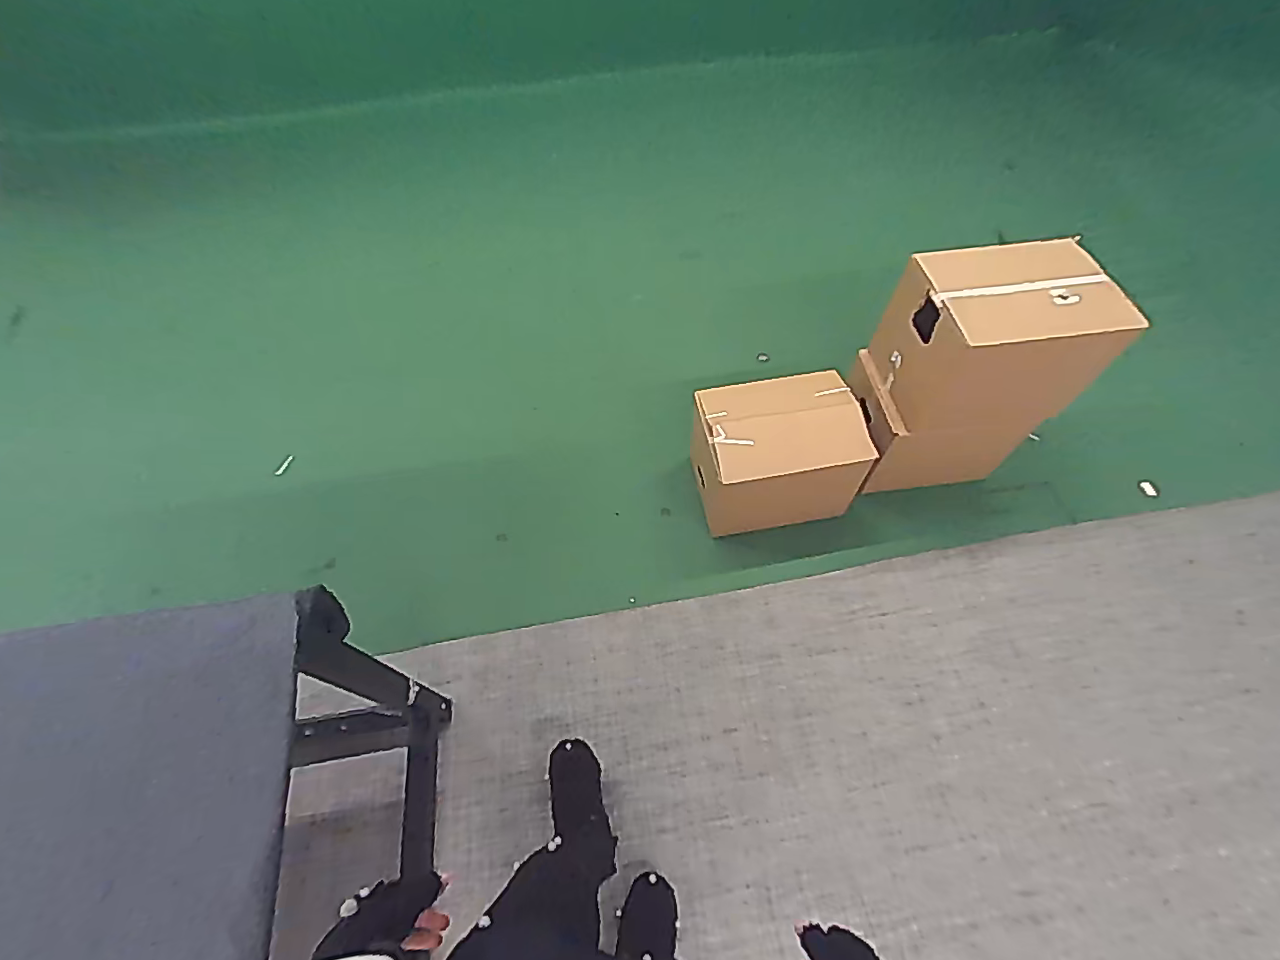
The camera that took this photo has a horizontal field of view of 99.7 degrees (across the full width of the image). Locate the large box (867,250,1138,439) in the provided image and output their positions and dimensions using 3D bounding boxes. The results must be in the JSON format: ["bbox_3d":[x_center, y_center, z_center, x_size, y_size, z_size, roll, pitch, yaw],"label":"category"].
[{"bbox_3d":[0.860,-0.332,1.353,0.408,0.320,0.320,-7,59,-4],"label":"large box"}]
